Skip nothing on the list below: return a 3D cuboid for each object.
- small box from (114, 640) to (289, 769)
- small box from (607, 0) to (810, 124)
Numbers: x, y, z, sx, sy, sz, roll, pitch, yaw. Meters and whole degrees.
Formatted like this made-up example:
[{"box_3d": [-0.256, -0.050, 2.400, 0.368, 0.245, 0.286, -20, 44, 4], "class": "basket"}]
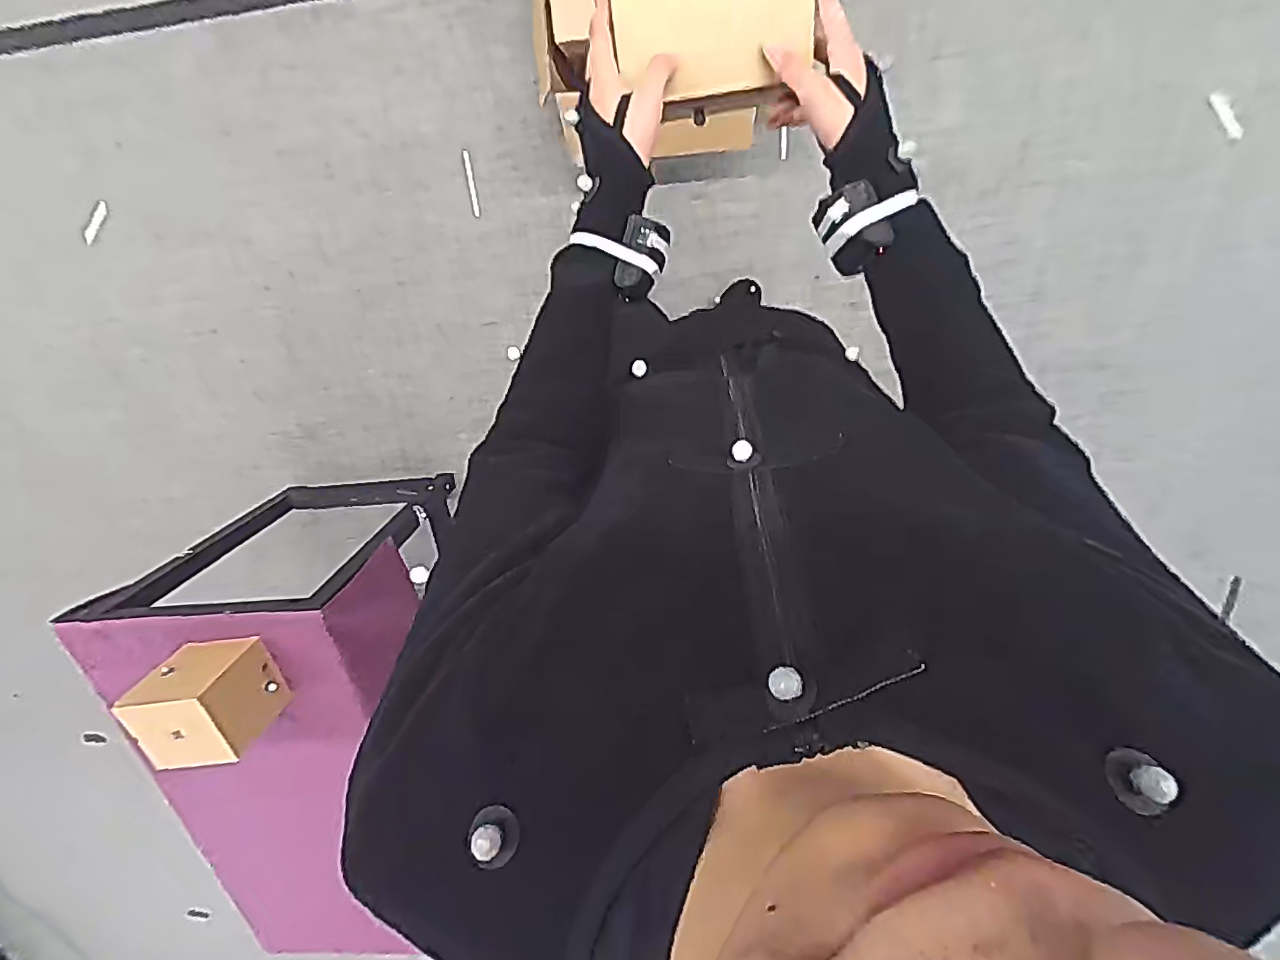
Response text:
[{"box_3d": [-0.851, 0.439, 1.070, 0.179, 0.176, 0.168, -7, 114, 7], "class": "small box"}, {"box_3d": [0.053, -0.445, 0.501, 0.168, 0.176, 0.179, -8, 117, 2], "class": "small box"}]
